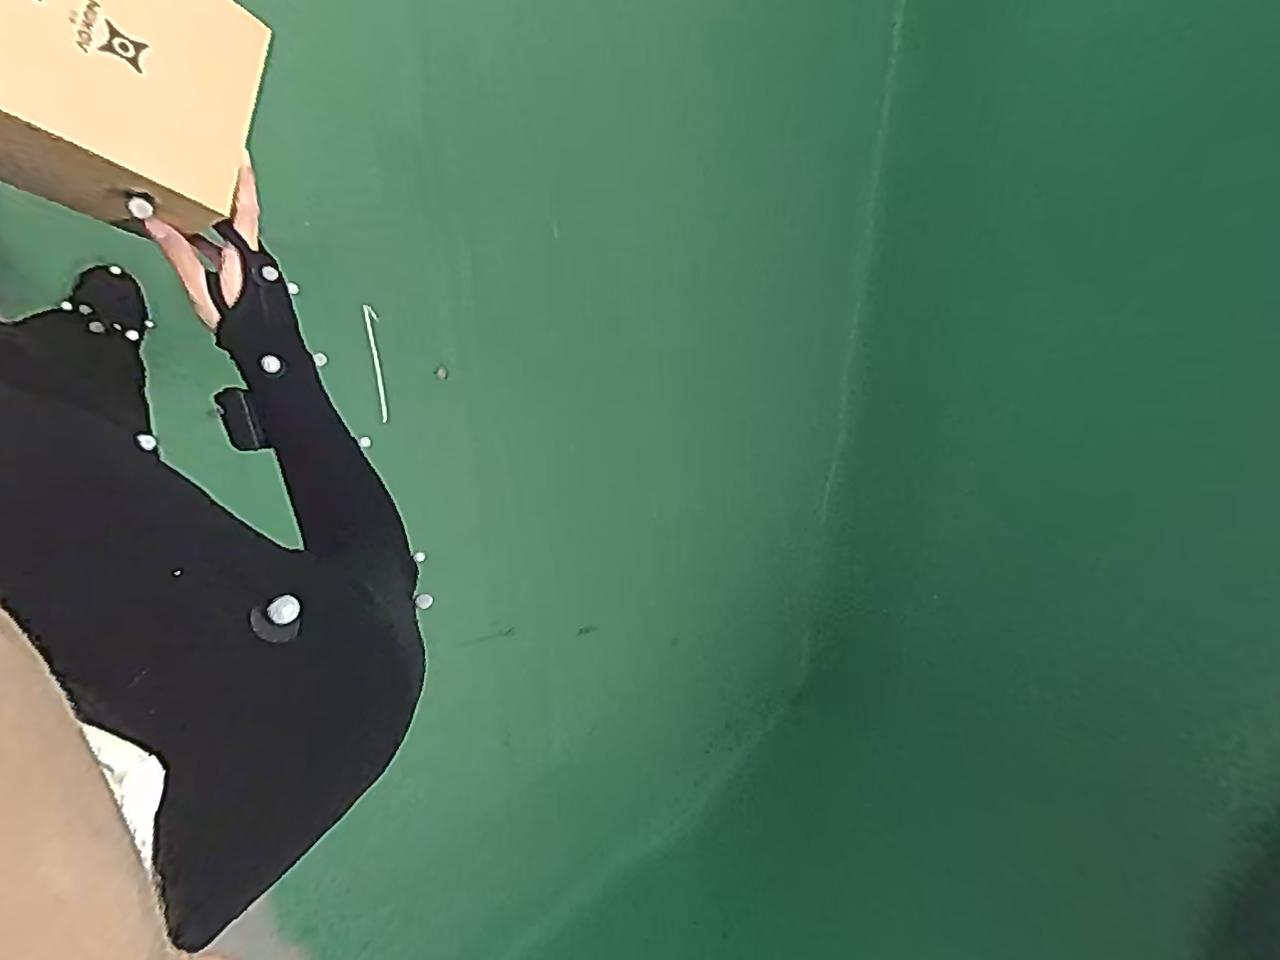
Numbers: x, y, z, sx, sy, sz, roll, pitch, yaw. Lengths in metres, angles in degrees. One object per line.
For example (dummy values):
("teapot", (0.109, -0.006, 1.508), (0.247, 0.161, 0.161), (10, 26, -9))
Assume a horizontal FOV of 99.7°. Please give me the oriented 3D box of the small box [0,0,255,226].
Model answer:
("small box", (-0.439, -0.317, 0.411), (0.179, 0.176, 0.168), (13, 84, -54))
